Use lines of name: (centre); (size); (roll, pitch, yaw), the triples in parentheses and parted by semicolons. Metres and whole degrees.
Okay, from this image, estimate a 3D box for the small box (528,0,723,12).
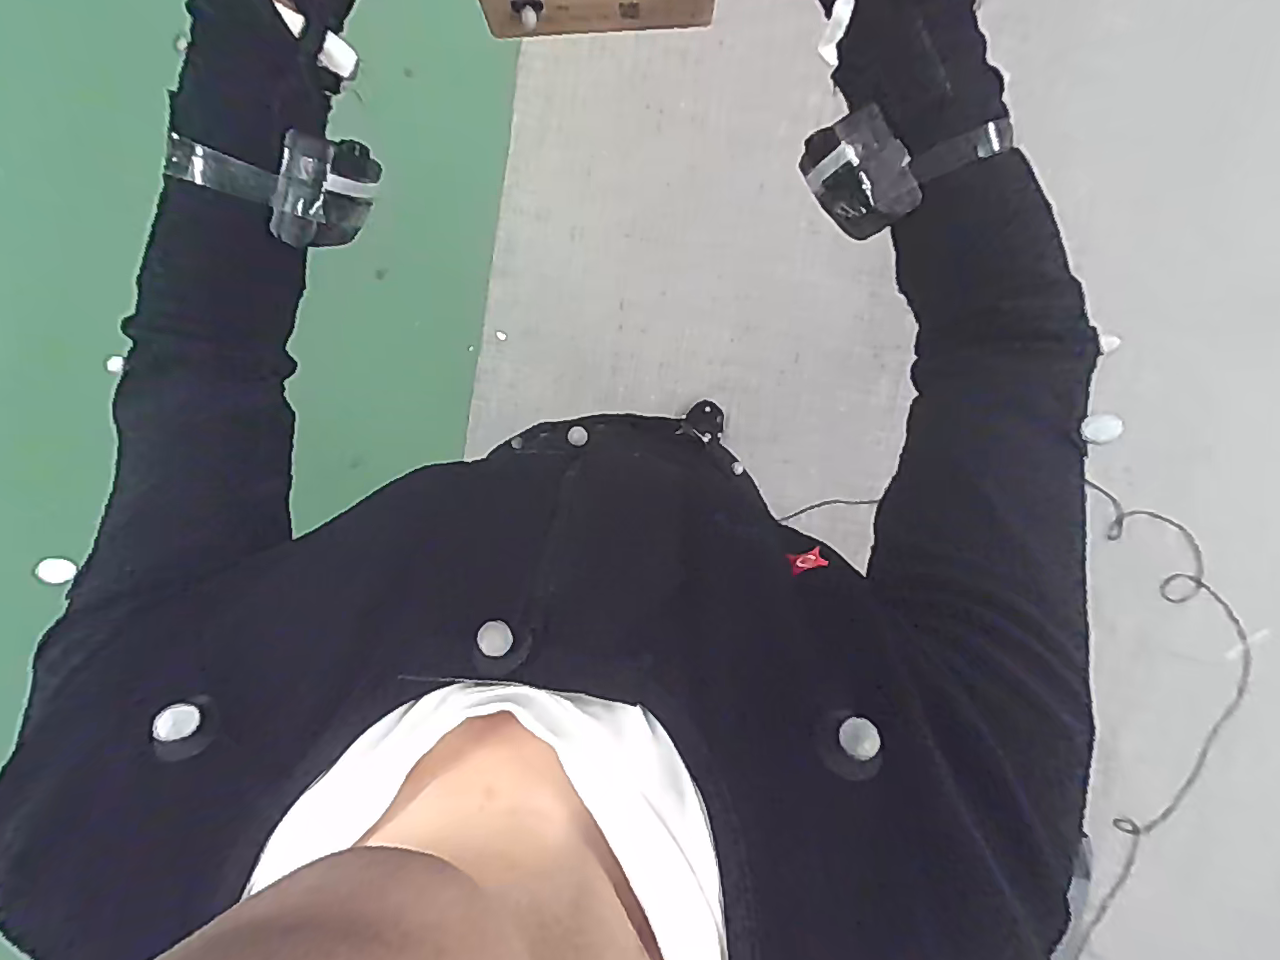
small box: (-0.018, -0.421, 0.316); (0.168, 0.176, 0.179); (-2, 93, 1)
